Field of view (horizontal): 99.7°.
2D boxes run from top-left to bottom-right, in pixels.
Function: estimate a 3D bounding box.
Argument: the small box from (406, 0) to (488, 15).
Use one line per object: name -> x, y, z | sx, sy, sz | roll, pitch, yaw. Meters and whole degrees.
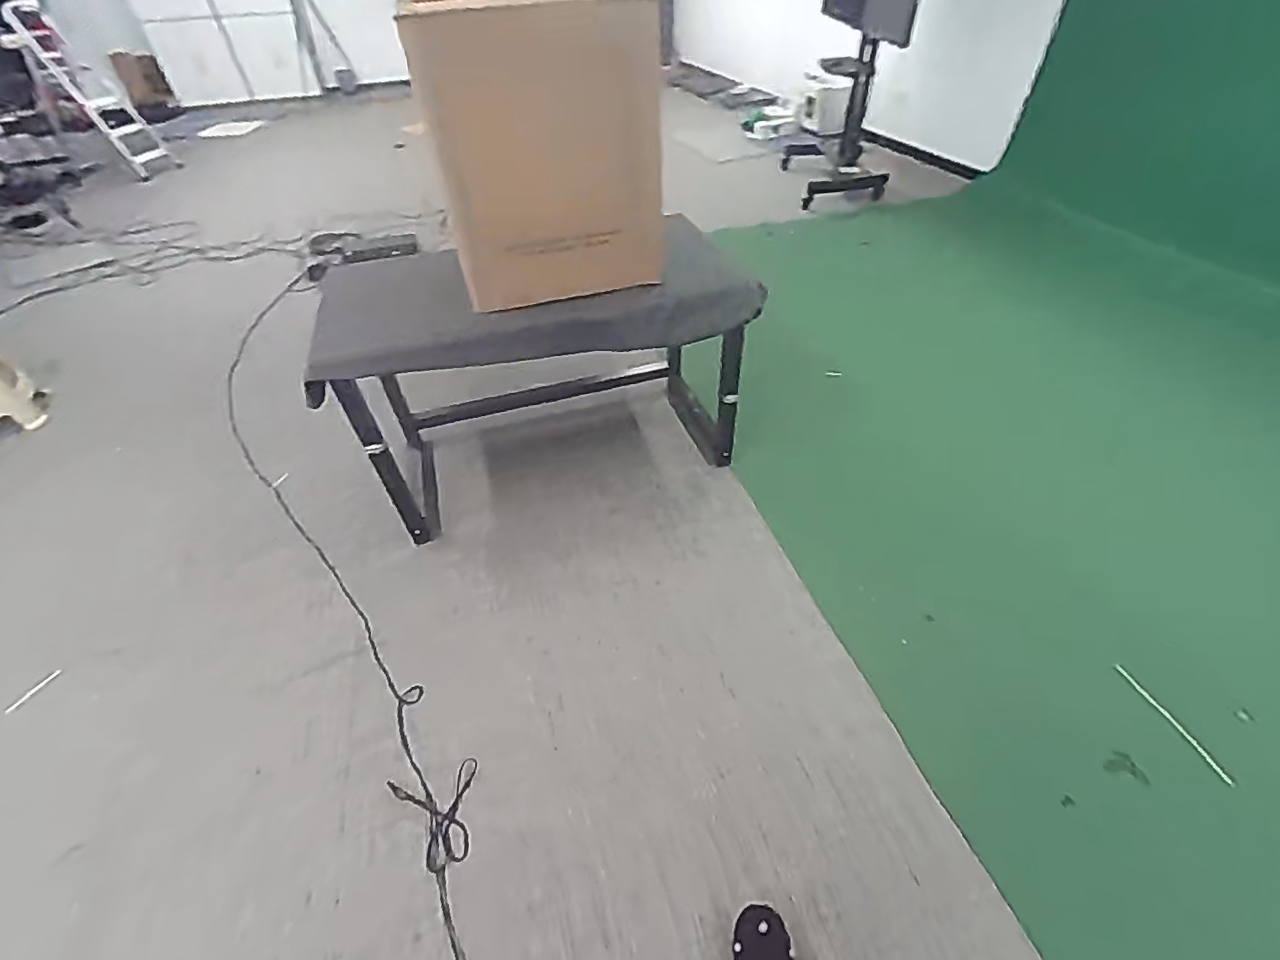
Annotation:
small box -> -0.426, -1.087, 1.124 | 0.168, 0.176, 0.179 | -16, 46, -10
